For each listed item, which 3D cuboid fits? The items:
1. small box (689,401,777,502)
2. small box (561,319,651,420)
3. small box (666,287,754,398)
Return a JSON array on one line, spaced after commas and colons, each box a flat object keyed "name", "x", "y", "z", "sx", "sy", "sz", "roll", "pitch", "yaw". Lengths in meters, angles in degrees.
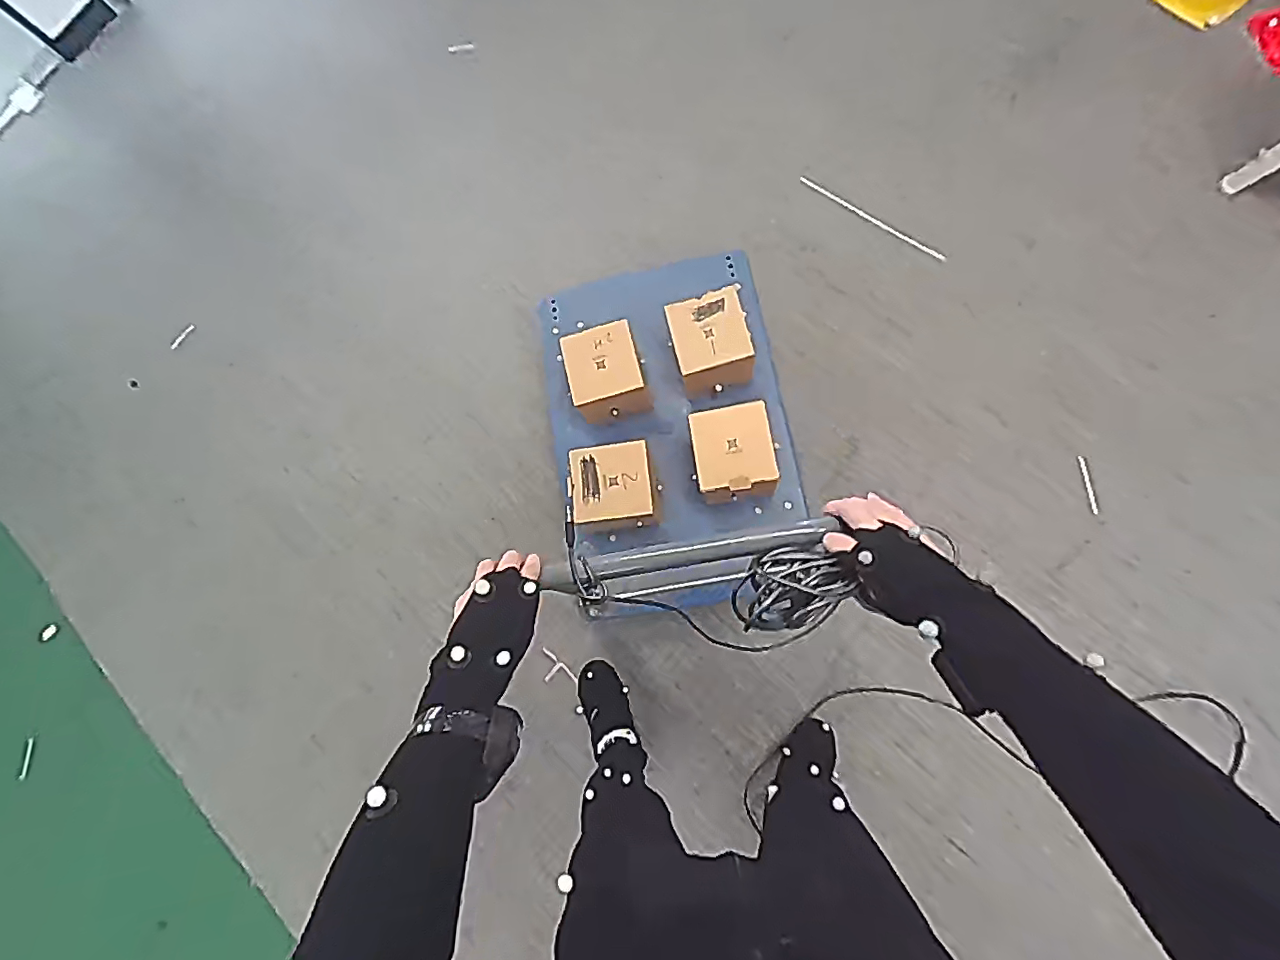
[{"name": "small box", "x": 0.206, "y": -0.057, "z": 1.218, "sx": 0.168, "sy": 0.176, "sz": 0.179, "roll": -10, "pitch": 78, "yaw": 8}, {"name": "small box", "x": -0.076, "y": -0.255, "z": 1.307, "sx": 0.168, "sy": 0.176, "sz": 0.179, "roll": -14, "pitch": 77, "yaw": 6}, {"name": "small box", "x": 0.166, "y": -0.317, "z": 1.276, "sx": 0.168, "sy": 0.176, "sz": 0.179, "roll": -14, "pitch": 77, "yaw": 8}]
